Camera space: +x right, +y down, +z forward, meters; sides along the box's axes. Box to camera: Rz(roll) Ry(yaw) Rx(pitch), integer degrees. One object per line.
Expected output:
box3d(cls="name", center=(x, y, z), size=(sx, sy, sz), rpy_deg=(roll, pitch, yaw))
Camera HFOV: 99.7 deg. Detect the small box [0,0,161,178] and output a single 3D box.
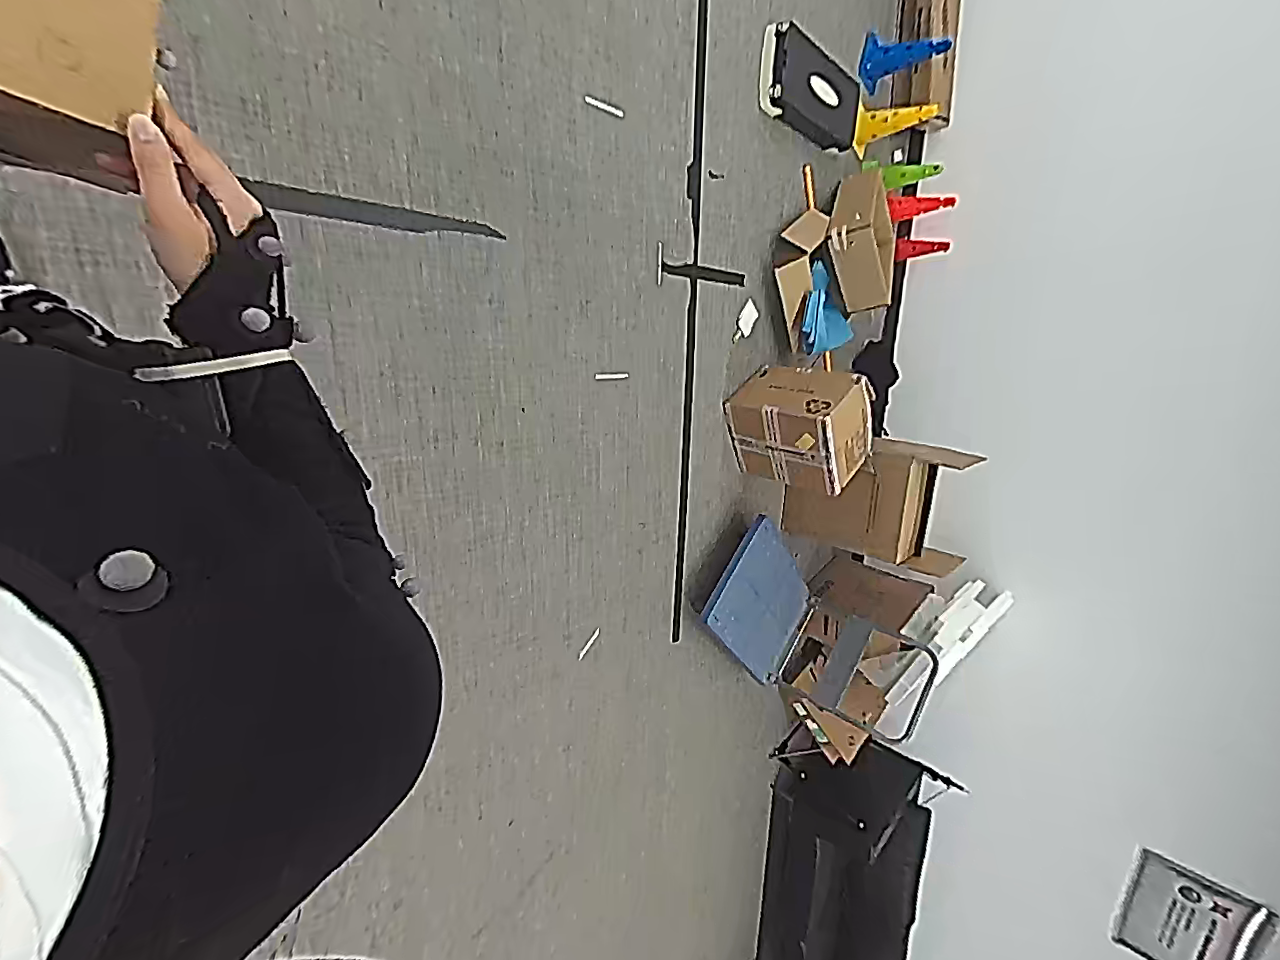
box3d(cls="small box", center=(-0.396, -0.311, 0.313), size=(0.168, 0.176, 0.179), rpy_deg=(4, 97, -48))
